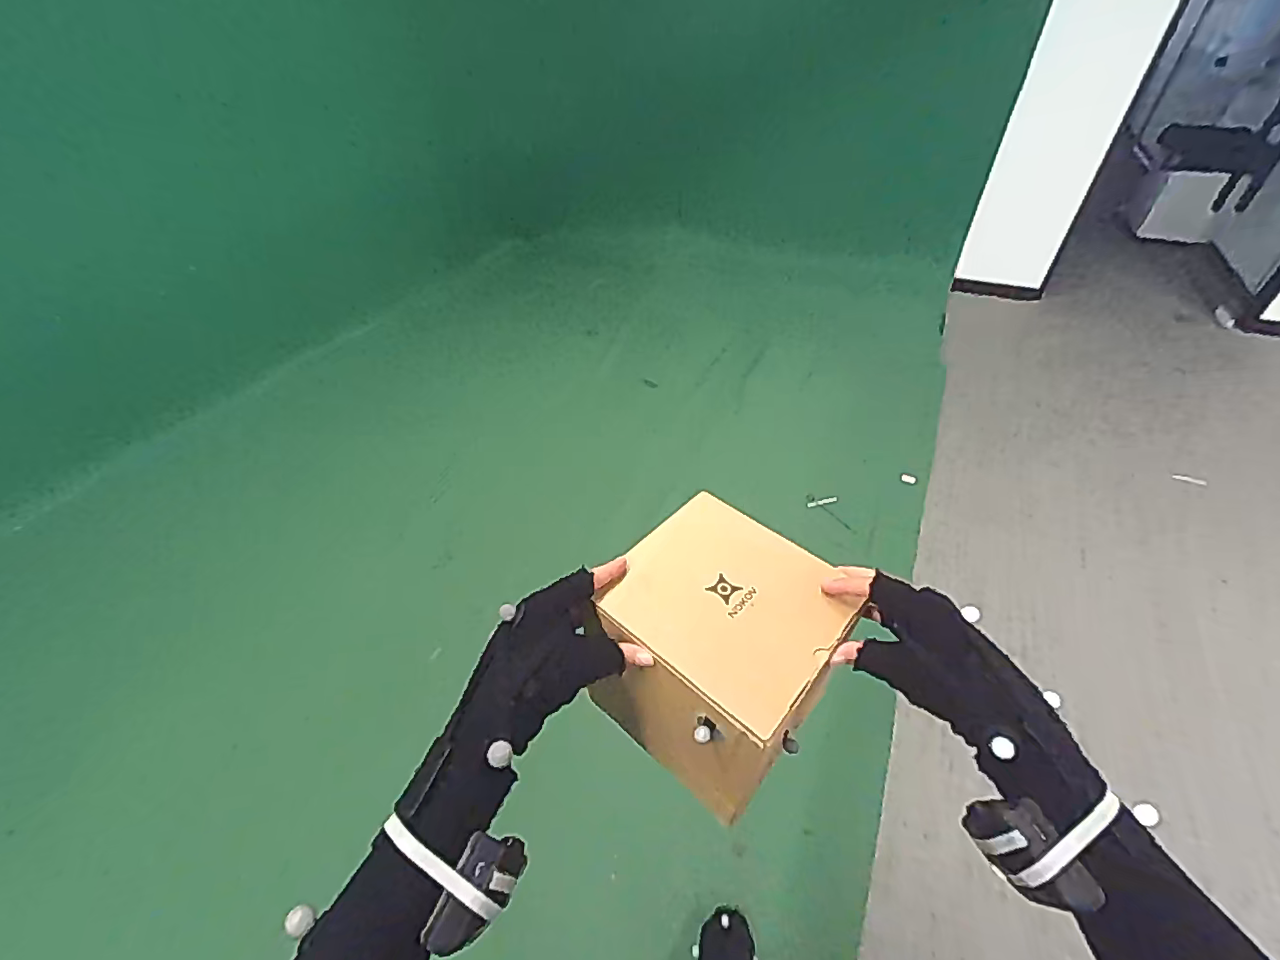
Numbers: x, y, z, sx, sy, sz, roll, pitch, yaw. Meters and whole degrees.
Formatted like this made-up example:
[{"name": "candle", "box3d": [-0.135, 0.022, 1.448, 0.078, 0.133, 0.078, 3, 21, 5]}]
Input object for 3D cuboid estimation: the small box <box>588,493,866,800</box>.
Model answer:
[{"name": "small box", "box3d": [0.068, 0.149, 0.498, 0.179, 0.176, 0.168, 33, 50, 28]}]
